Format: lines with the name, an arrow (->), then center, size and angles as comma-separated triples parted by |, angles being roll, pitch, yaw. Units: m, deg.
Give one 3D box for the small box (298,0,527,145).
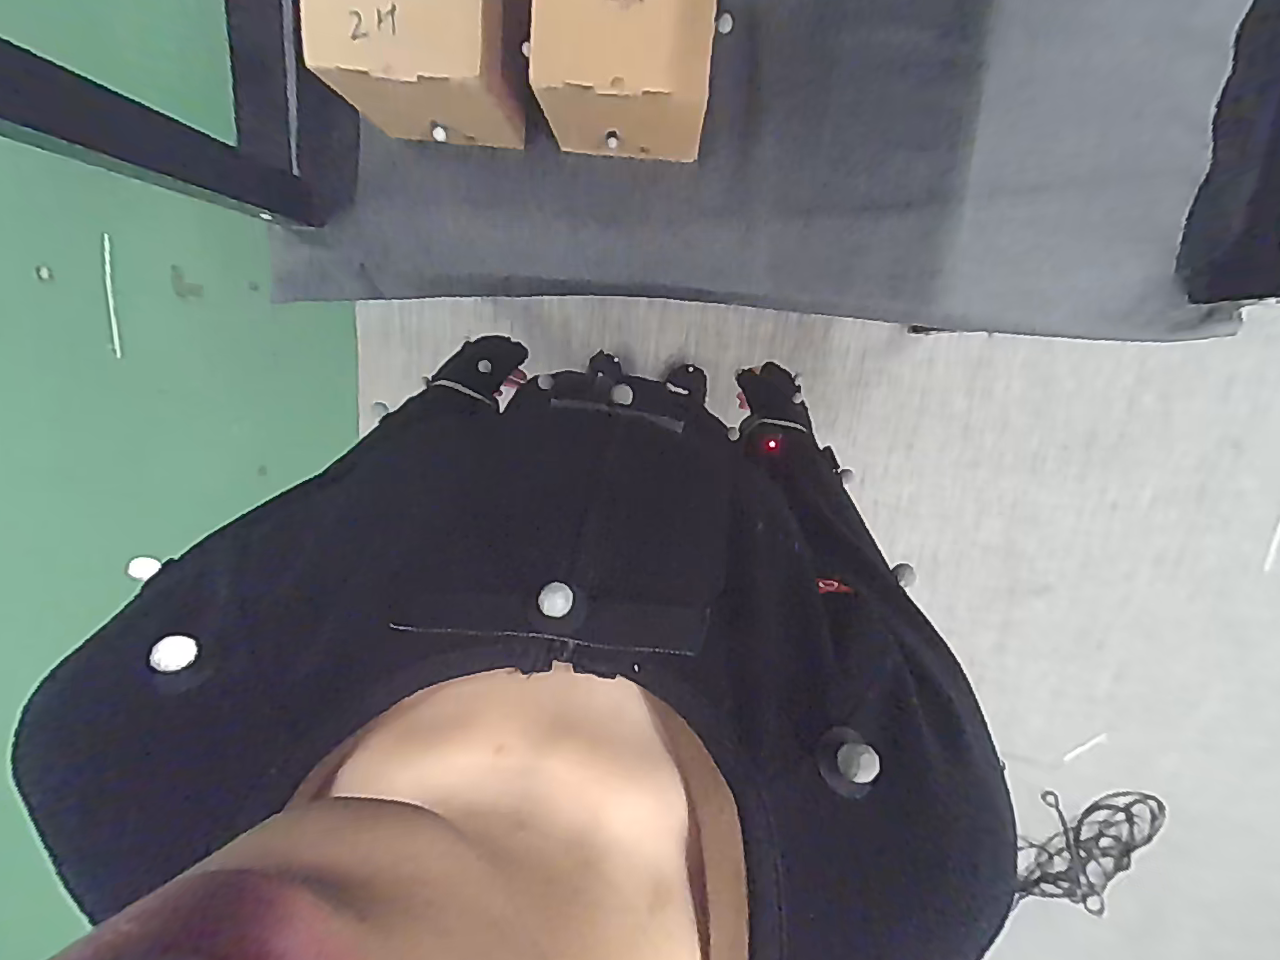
small box -> -0.216, -0.475, 0.550 | 0.168, 0.176, 0.179 | 6, 103, 1
